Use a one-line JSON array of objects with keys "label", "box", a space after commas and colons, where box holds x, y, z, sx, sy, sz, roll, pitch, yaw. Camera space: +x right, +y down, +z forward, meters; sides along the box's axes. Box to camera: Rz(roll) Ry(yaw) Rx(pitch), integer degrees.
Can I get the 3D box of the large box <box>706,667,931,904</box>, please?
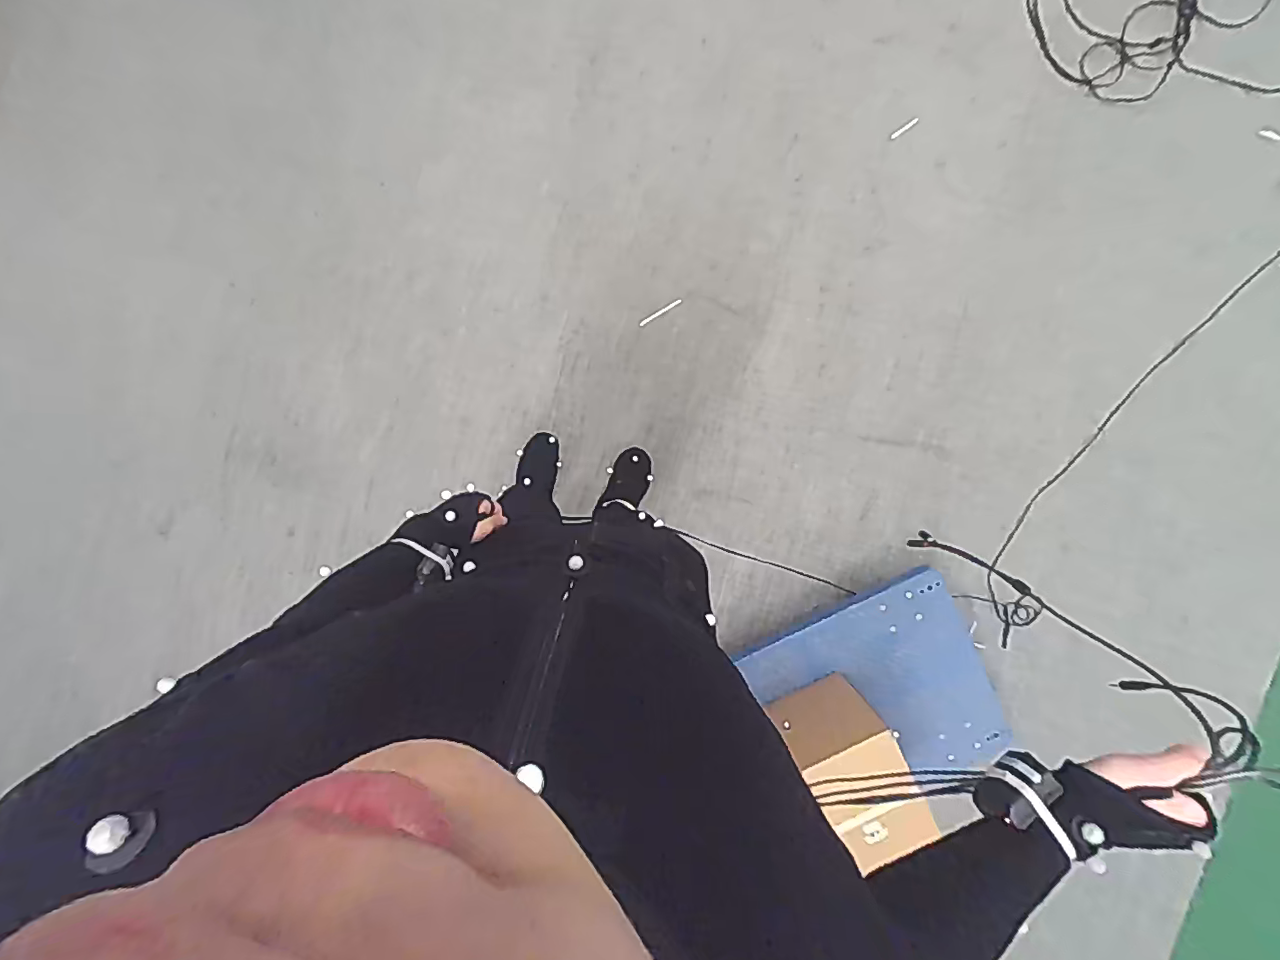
[{"label": "large box", "box": [0.428, 0.752, 1.387, 0.408, 0.320, 0.320, -26, 96, 0]}]
